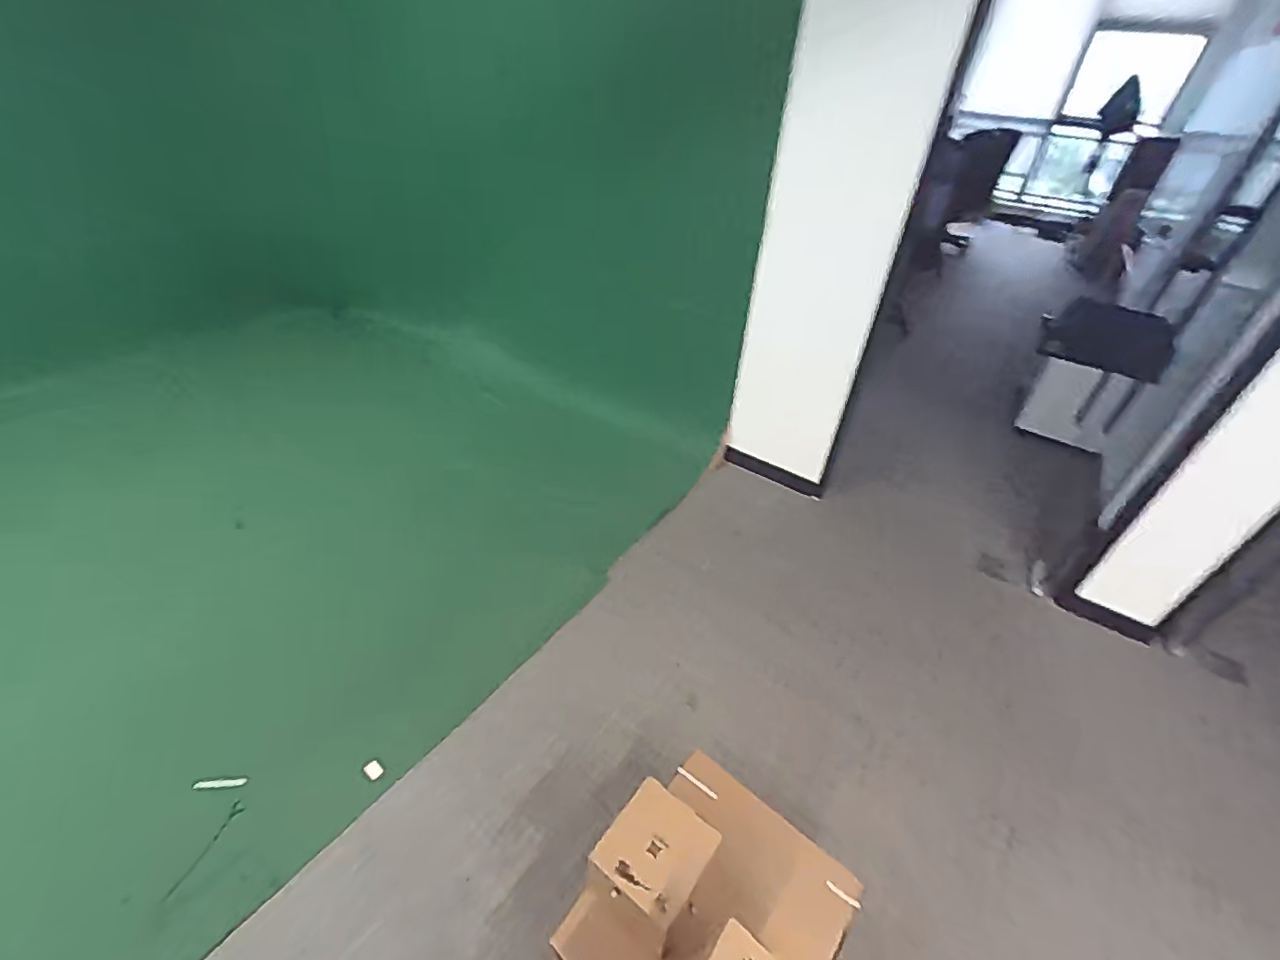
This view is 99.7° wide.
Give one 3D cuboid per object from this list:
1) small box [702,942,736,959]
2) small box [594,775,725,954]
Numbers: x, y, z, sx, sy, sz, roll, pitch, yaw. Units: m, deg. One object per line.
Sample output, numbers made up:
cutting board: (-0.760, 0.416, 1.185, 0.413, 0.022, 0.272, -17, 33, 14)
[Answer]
small box: (0.126, 0.840, 0.789, 0.179, 0.176, 0.168, 28, 43, 27)
small box: (0.028, 0.688, 0.974, 0.168, 0.176, 0.179, 28, 42, 28)
